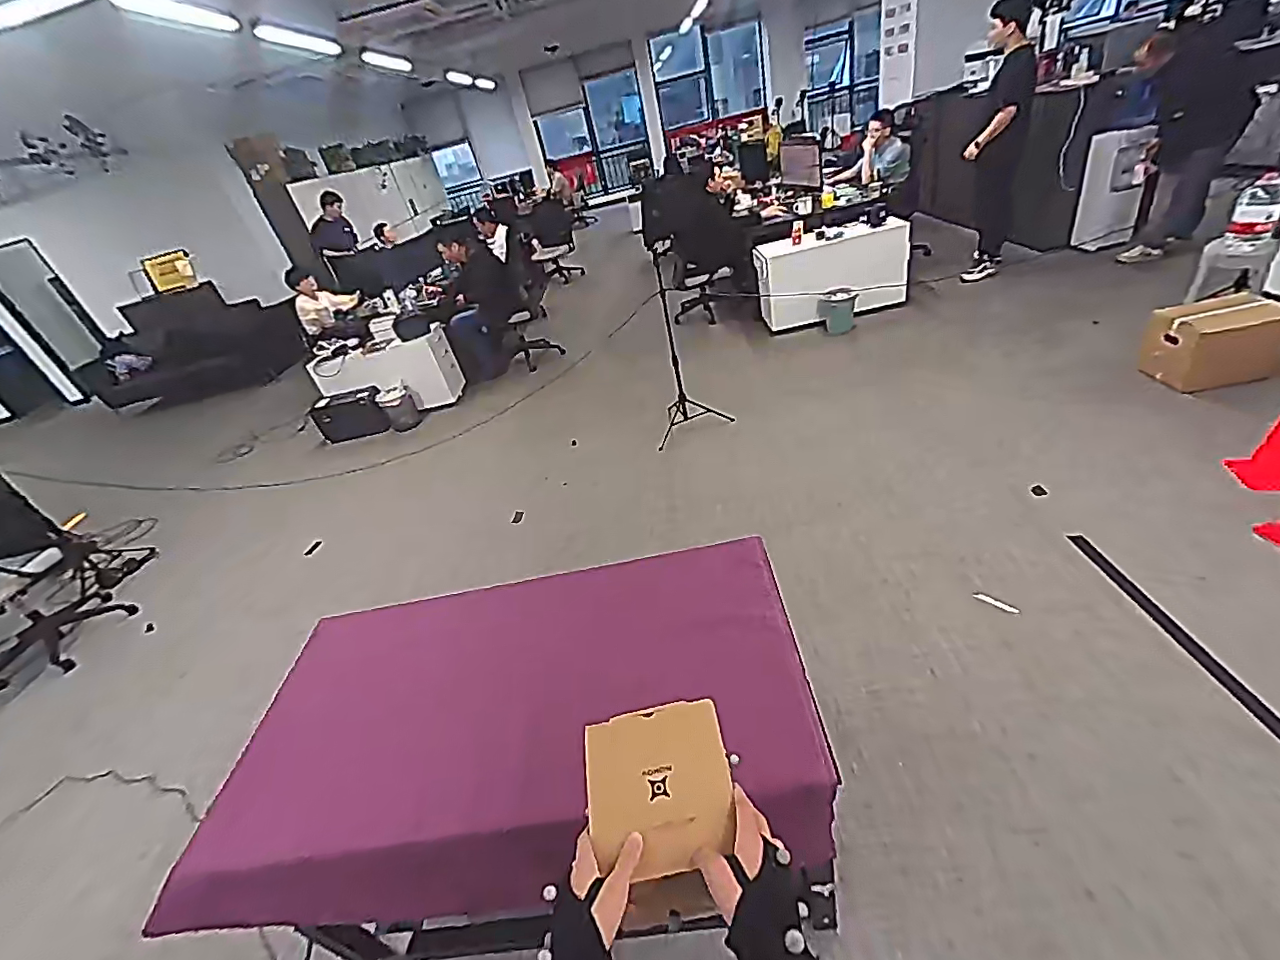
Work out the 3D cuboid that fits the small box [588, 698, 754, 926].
[{"bbox_3d":[0.035,0.403,0.661,0.168,0.176,0.179,-13,37,2],"label":"small box"}]
